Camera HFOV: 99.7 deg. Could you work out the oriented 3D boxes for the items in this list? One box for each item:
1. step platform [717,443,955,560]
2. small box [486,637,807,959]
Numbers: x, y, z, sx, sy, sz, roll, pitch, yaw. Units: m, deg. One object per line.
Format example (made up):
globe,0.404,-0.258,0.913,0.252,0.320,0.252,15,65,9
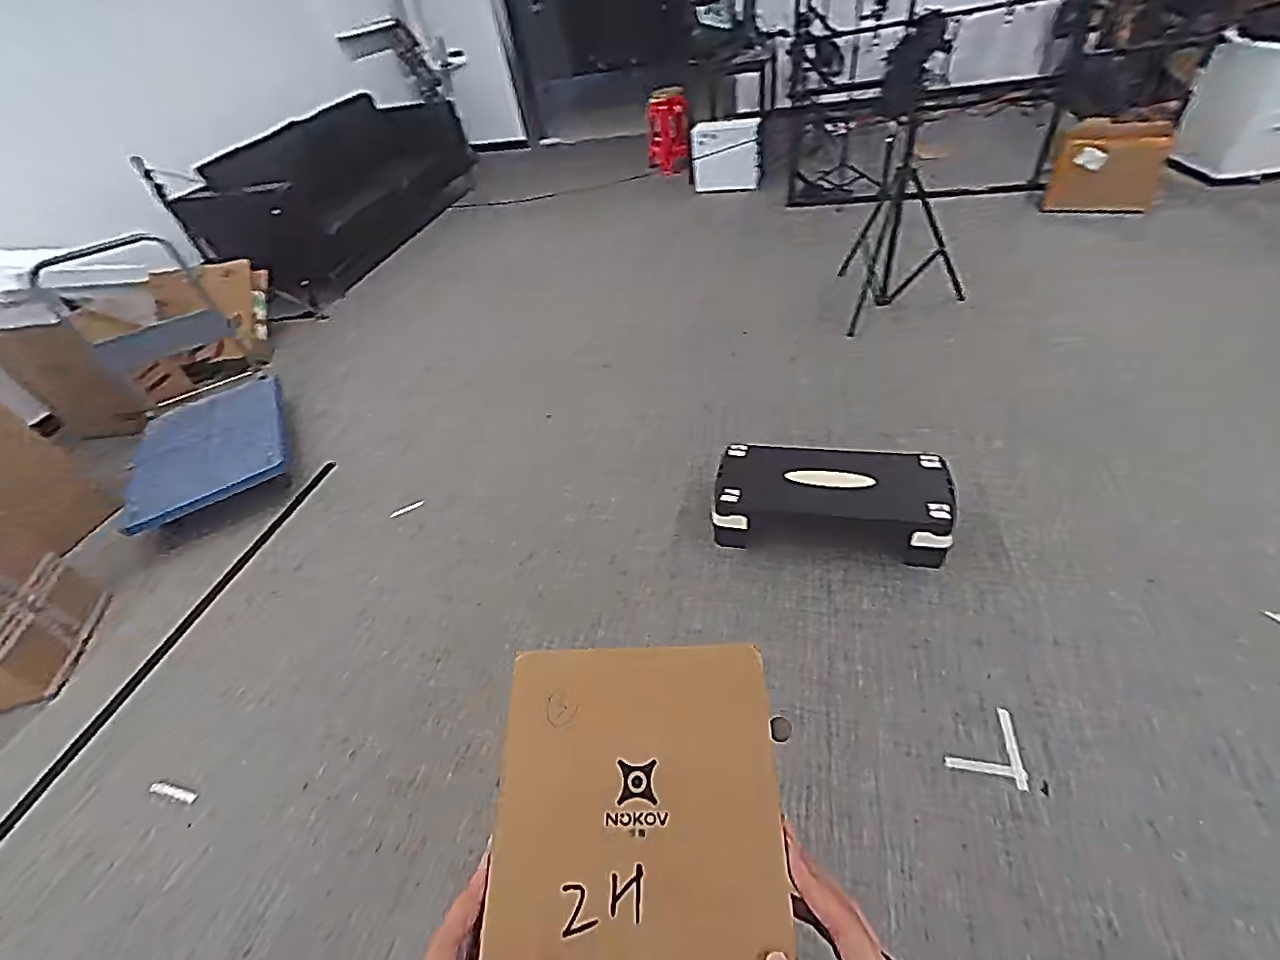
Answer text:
step platform,0.584,0.048,1.674,0.684,0.204,0.286,3,45,16
small box,0.012,0.222,0.380,0.168,0.176,0.179,-3,57,6
